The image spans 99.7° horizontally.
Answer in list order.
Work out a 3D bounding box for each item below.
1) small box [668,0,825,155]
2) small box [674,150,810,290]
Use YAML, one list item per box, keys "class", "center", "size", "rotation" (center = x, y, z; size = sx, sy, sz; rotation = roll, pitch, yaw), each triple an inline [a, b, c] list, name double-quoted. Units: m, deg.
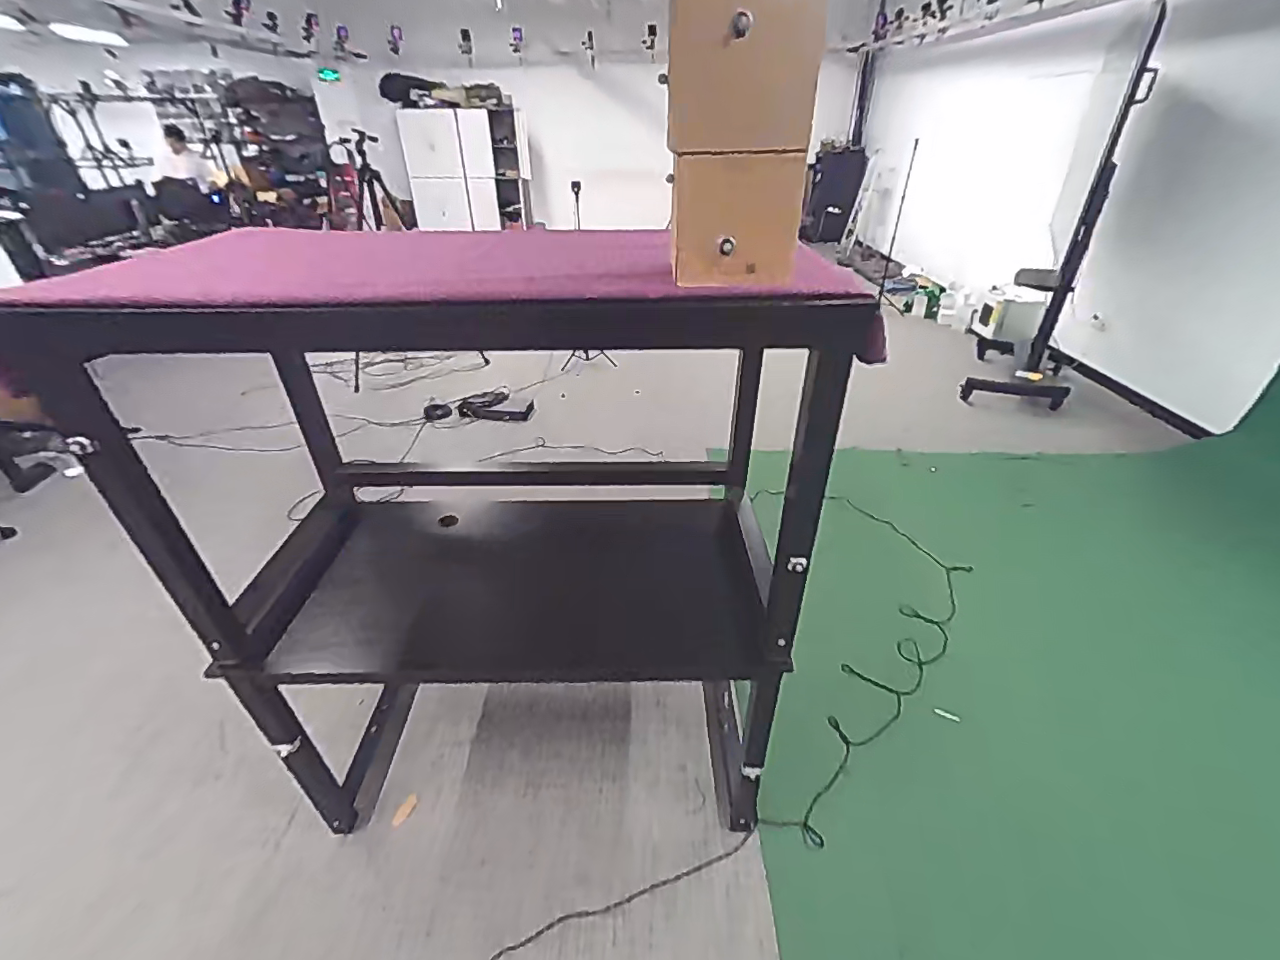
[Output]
- class: "small box"
  center: [0.127, -0.521, 0.698]
  size: [0.179, 0.176, 0.168]
  rotation: [-1, 34, 1]
- class: "small box"
  center: [0.136, -0.388, 0.795]
  size: [0.168, 0.176, 0.179]
  rotation: [0, 34, 1]
